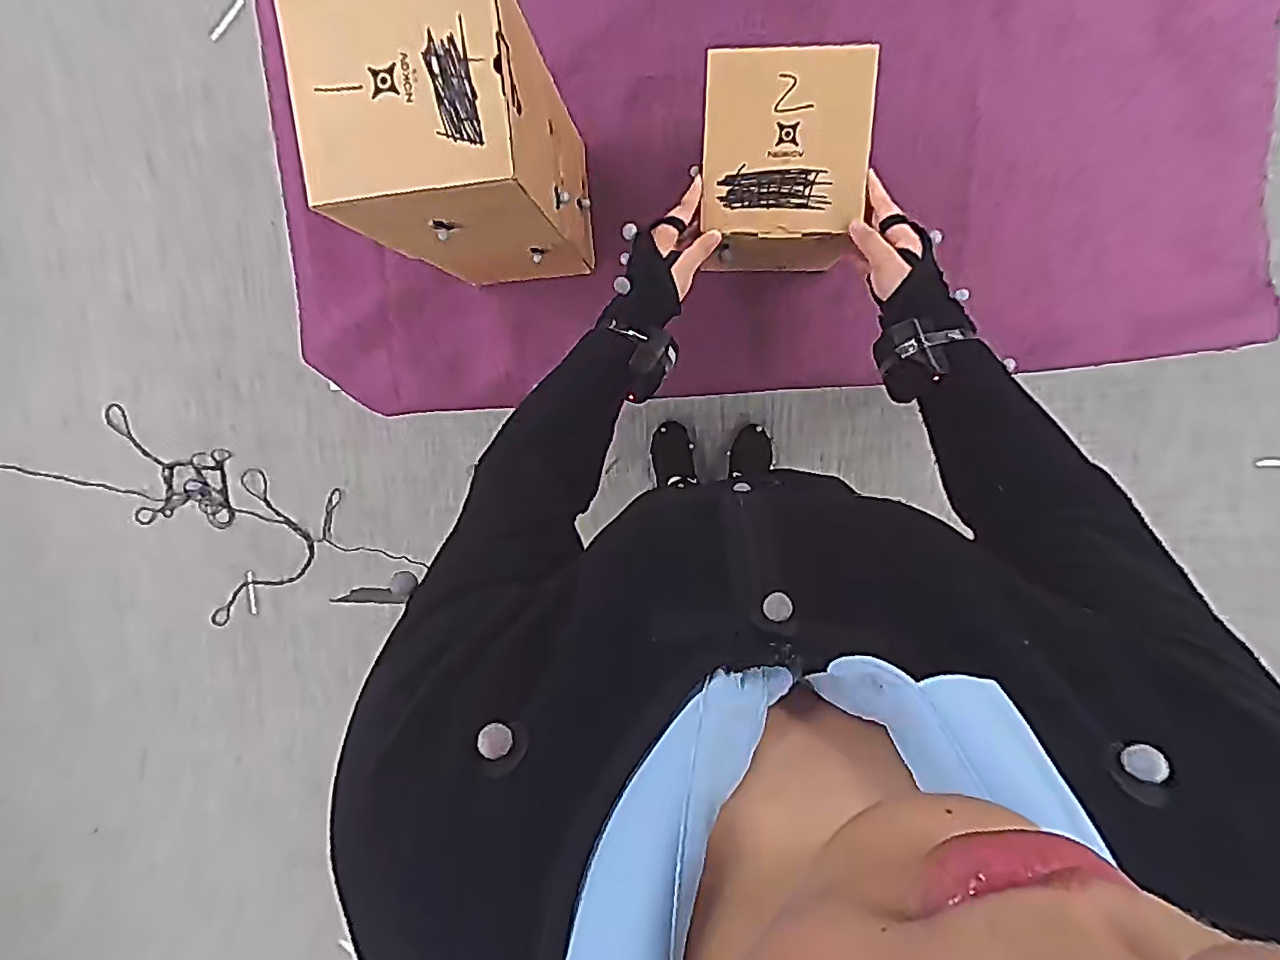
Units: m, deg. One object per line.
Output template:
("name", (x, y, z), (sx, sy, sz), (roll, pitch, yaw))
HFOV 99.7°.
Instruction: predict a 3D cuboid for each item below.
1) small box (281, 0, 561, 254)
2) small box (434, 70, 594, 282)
("small box", (-0.176, -0.319, 0.495), (0.179, 0.176, 0.168), (-4, 98, 7))
("small box", (-0.162, -0.348, 0.656), (0.179, 0.176, 0.168), (-4, 98, 6))
